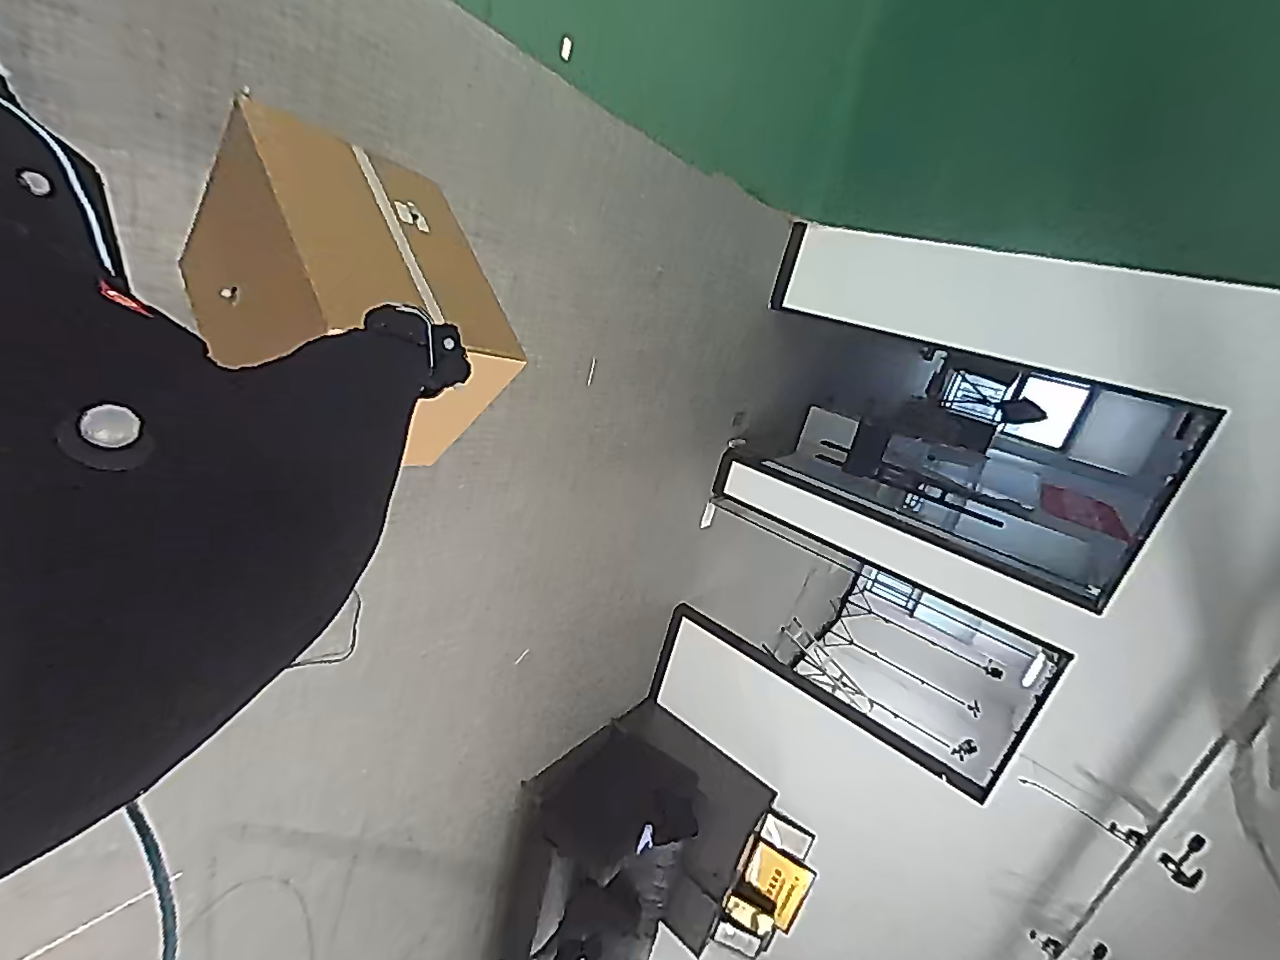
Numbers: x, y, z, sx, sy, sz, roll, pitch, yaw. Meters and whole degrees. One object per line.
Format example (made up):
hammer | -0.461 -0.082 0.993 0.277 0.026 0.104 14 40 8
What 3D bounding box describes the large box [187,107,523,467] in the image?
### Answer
large box | -0.468 -0.272 0.882 0.320 0.408 0.320 -38 162 29
